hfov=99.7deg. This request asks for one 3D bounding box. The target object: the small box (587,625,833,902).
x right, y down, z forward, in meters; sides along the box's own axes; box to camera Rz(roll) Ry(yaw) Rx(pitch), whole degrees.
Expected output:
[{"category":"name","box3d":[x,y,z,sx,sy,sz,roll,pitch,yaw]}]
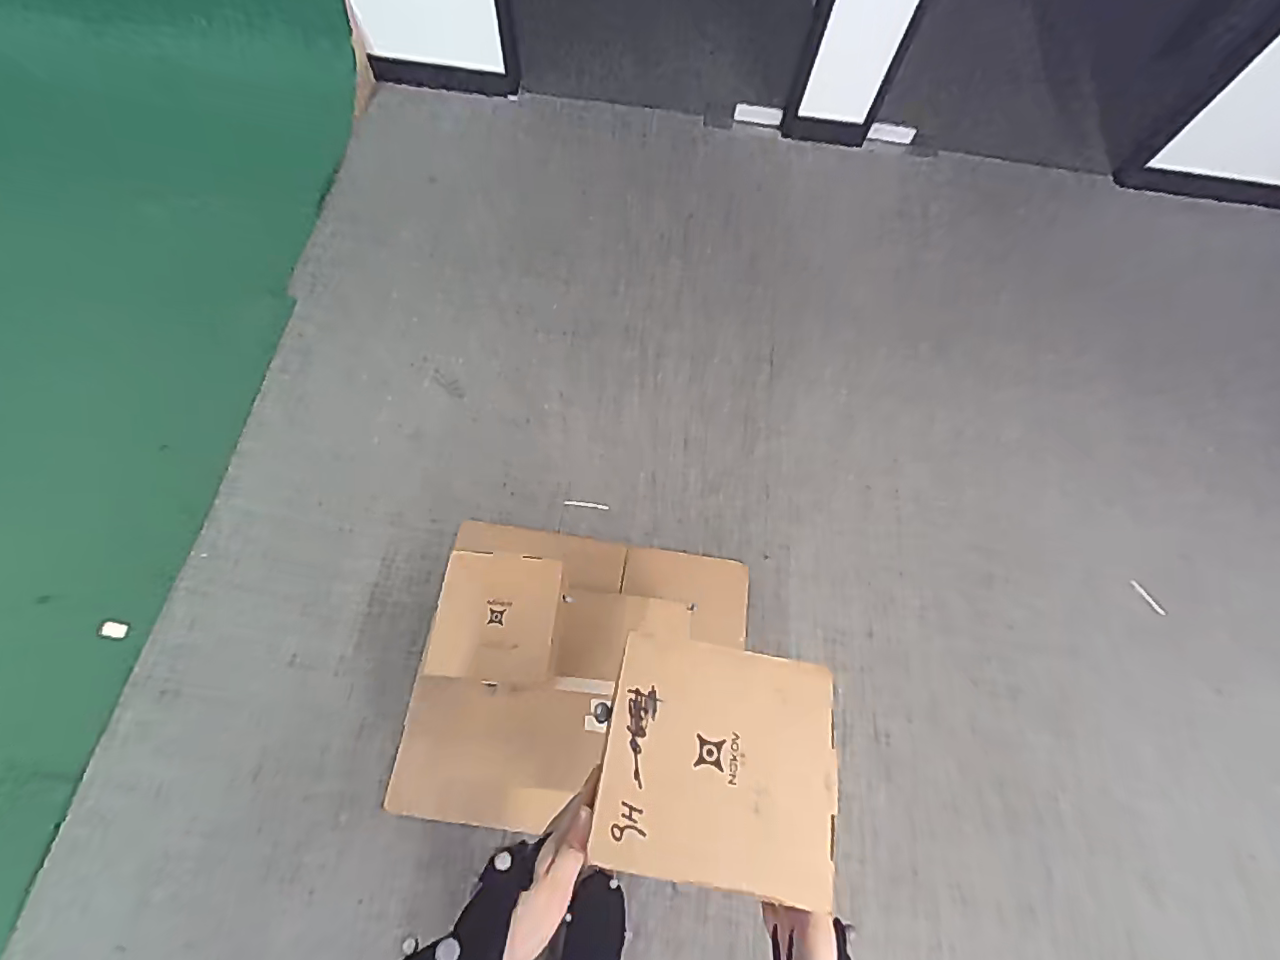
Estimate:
[{"category":"small box","box3d":[0.056,0.249,0.487,0.179,0.176,0.168,12,58,1]}]

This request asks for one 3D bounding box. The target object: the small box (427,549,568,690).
[{"category":"small box","box3d":[-0.203,0.218,0.824,0.168,0.176,0.179,5,67,-2]}]

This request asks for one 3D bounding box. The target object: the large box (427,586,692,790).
[{"category":"large box","box3d":[-0.132,0.386,1.025,0.408,0.320,0.320,8,68,-3]}]
